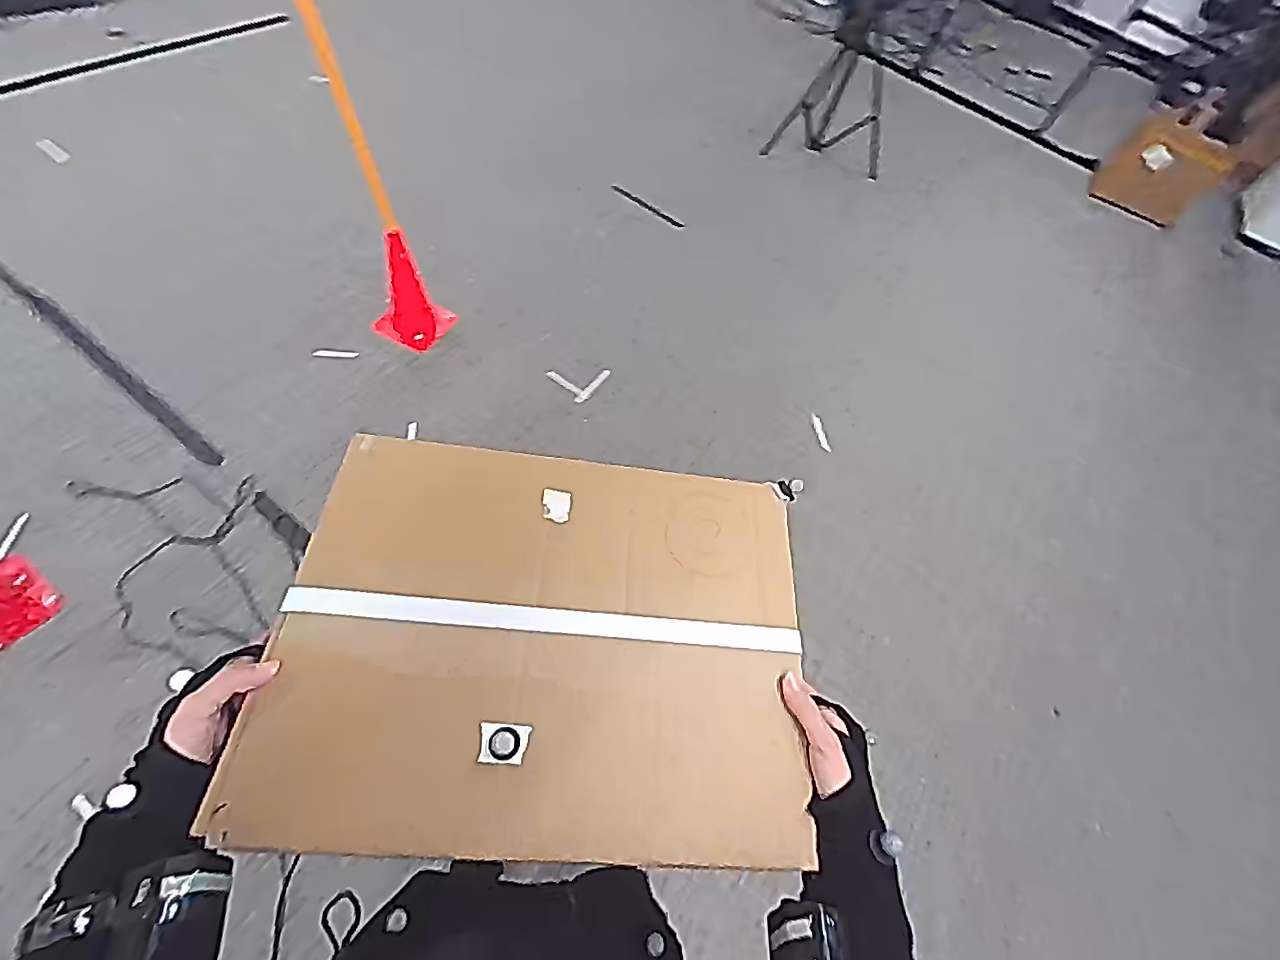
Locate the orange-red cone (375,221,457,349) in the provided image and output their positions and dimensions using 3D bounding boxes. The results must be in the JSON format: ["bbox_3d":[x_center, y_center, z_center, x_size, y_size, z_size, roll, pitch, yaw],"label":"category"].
[{"bbox_3d":[-0.699,-0.609,1.622,0.198,0.360,0.199,29,58,5],"label":"orange-red cone"}]
